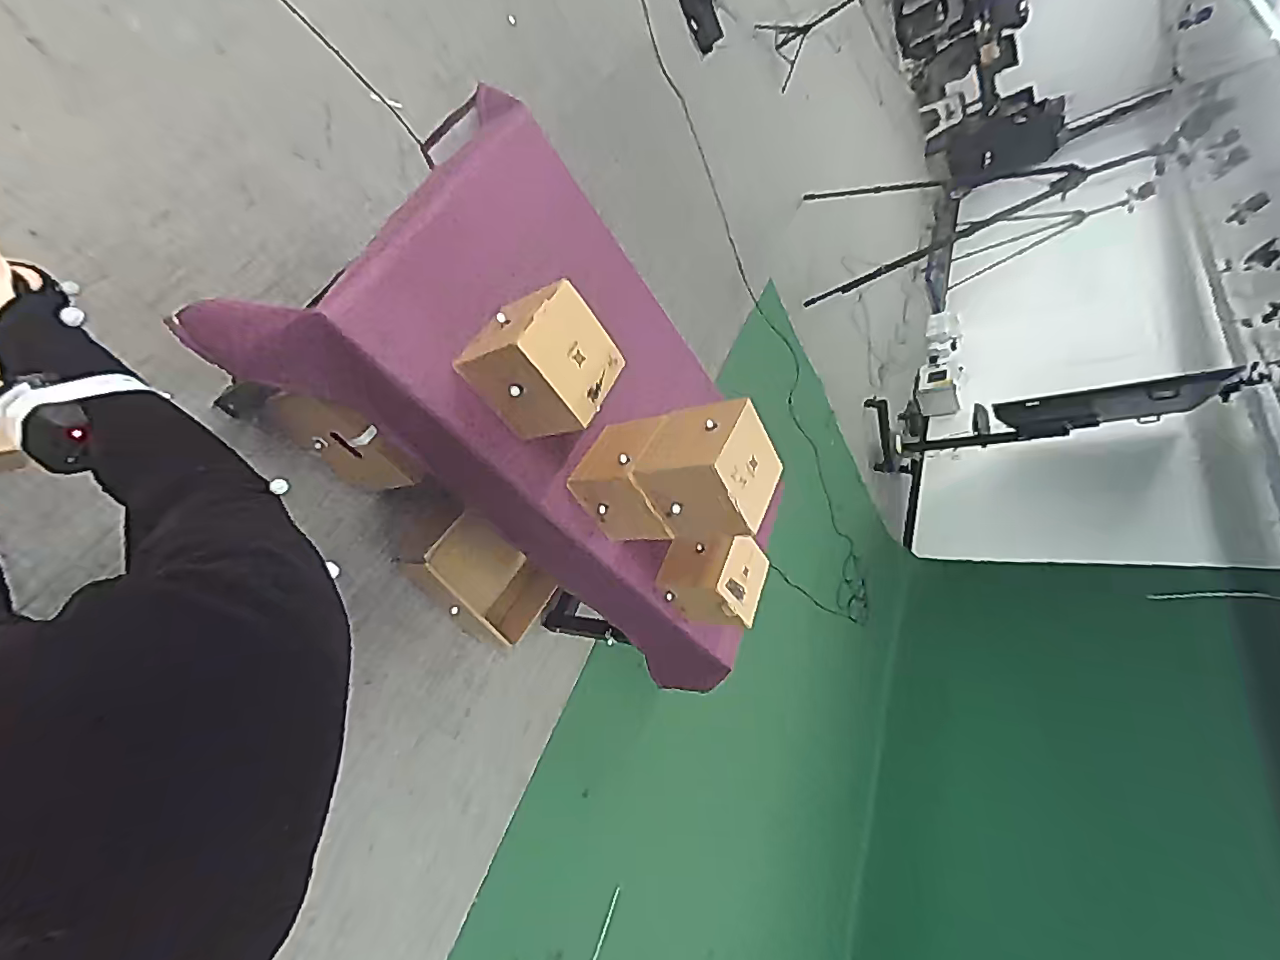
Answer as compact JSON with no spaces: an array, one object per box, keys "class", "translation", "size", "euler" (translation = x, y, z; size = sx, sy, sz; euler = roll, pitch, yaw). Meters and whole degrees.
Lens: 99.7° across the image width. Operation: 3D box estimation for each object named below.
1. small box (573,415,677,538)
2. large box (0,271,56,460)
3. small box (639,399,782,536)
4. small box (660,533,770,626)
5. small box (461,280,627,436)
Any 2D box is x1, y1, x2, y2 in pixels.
[{"class":"small box","translation":[-0.001,-0.004,1.067],"size":[0.168,0.176,0.179],"euler":[55,50,-30]},{"class":"large box","translation":[-0.782,-0.133,0.397],"size":[0.408,0.320,0.320],"euler":[-22,106,-50]},{"class":"small box","translation":[0.126,-0.019,0.963],"size":[0.168,0.176,0.179],"euler":[56,49,-29]},{"class":"small box","translation":[0.168,0.211,1.236],"size":[0.168,0.176,0.179],"euler":[51,51,-33]},{"class":"small box","translation":[-0.160,-0.192,0.900],"size":[0.179,0.176,0.168],"euler":[51,52,-32]}]
